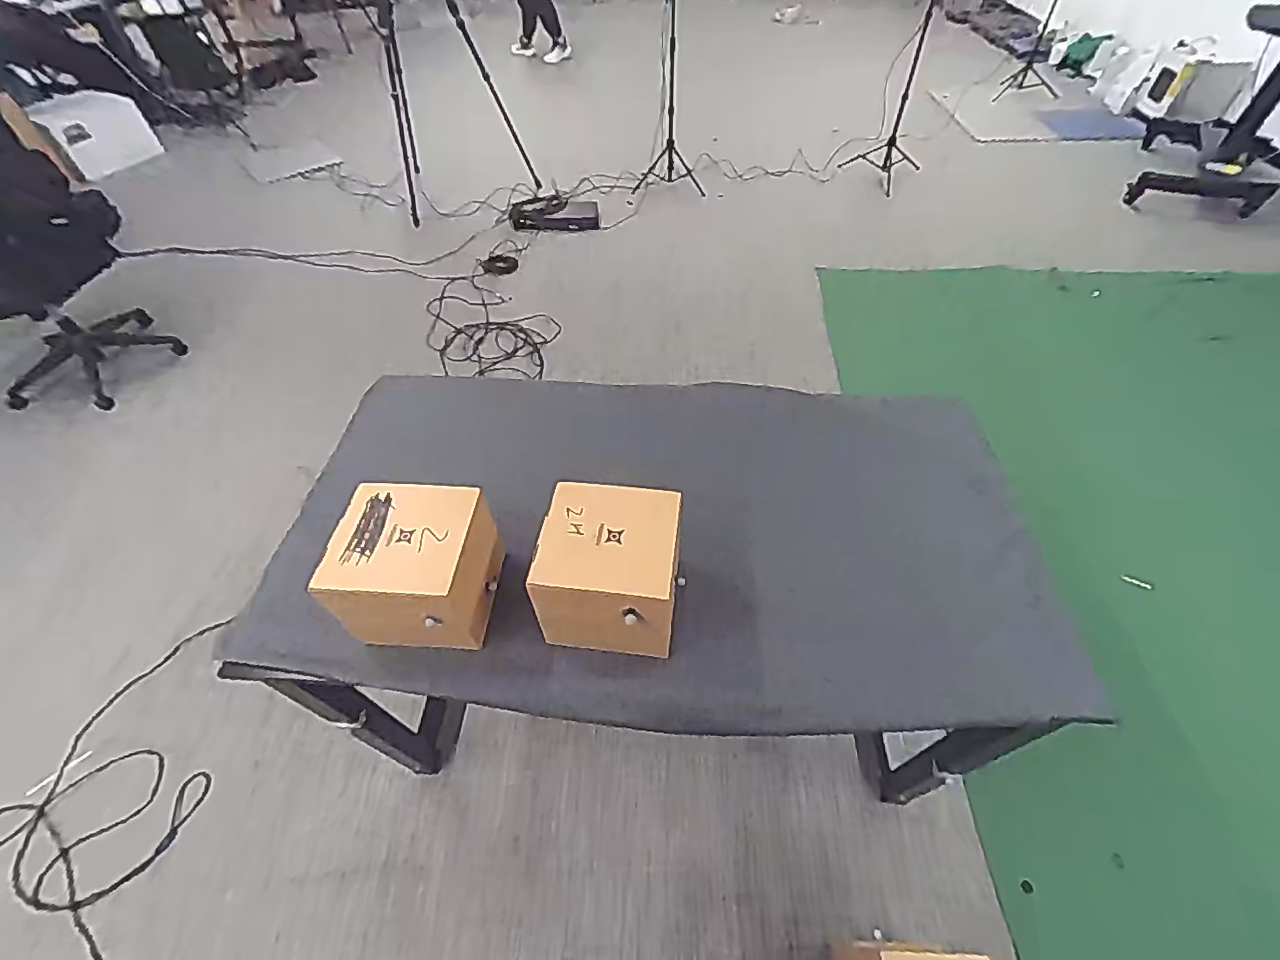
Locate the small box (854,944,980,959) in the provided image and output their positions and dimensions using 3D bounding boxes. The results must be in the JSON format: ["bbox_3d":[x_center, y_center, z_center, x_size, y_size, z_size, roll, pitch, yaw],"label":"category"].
[{"bbox_3d":[0.464,0.855,0.859,0.179,0.176,0.168,2,52,4],"label":"small box"}]

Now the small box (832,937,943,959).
[{"bbox_3d":[0.465,0.957,0.989,0.168,0.176,0.179,0,50,2],"label":"small box"}]

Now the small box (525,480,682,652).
[{"bbox_3d":[-0.038,0.123,0.746,0.179,0.176,0.168,5,49,7],"label":"small box"}]
